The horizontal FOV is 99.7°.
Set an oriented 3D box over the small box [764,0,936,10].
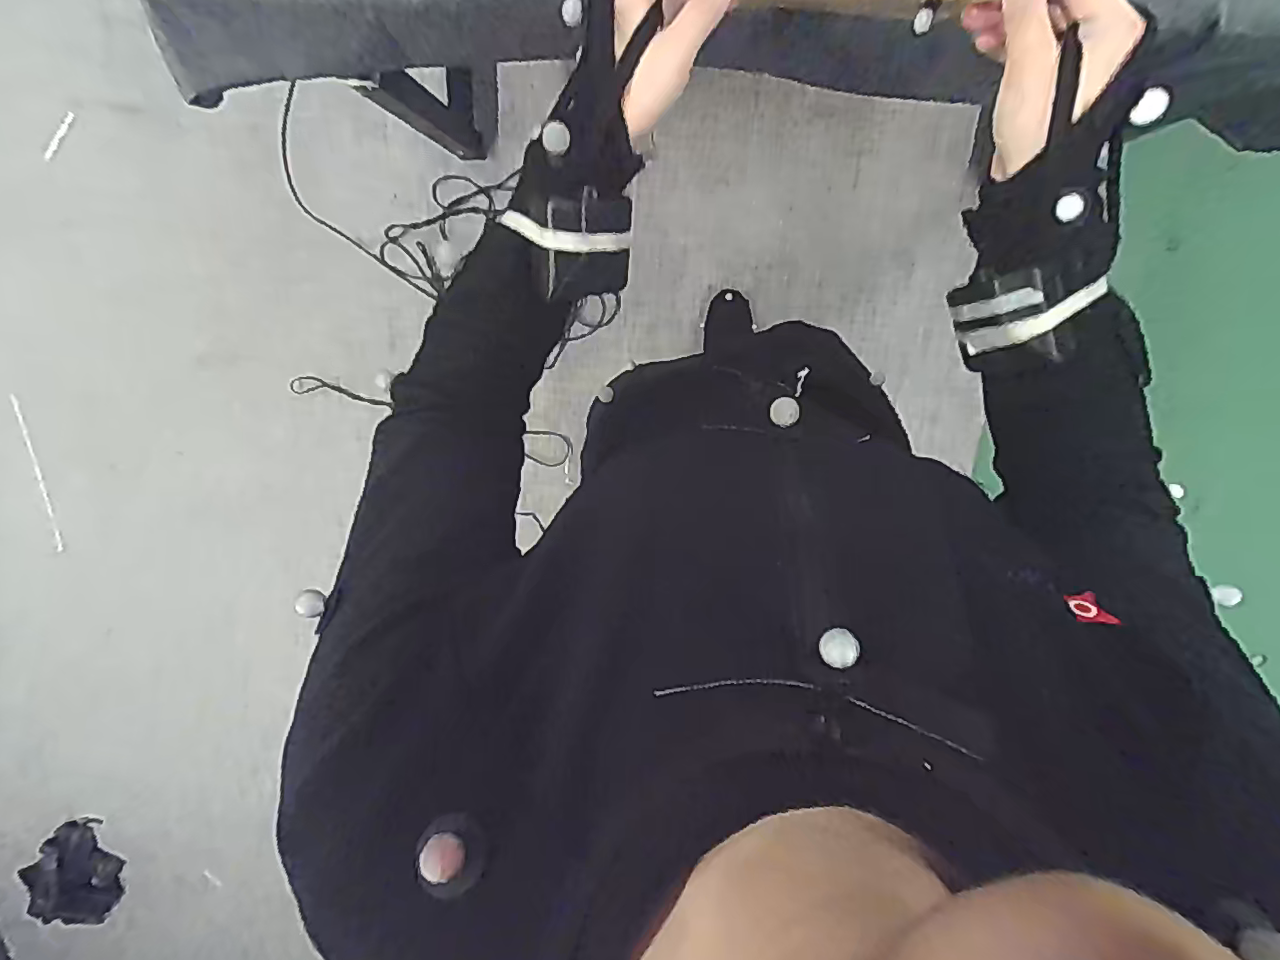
[{"bbox_3d":[0.138,-0.395,0.317,0.179,0.176,0.168,7,127,4],"label":"small box"}]
